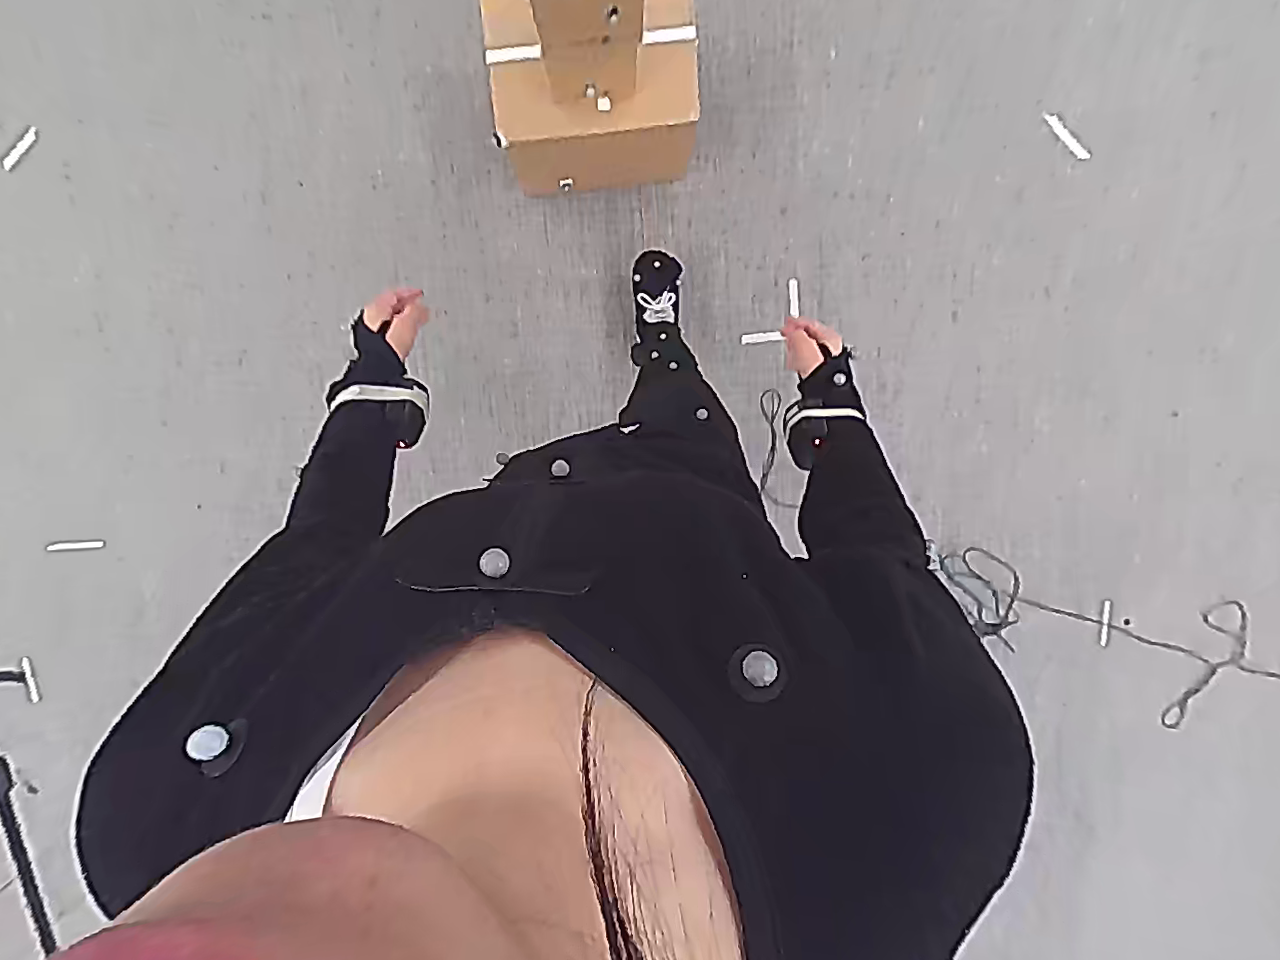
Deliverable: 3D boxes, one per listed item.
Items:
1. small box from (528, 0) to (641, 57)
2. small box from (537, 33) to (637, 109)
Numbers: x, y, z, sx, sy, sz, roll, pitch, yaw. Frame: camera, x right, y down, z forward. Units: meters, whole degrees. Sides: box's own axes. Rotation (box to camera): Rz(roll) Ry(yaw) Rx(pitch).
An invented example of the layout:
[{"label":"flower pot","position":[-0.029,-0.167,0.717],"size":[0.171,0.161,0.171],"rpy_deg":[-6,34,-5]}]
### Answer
[{"label":"small box","position":[-0.088,-0.774,0.809],"size":[0.168,0.176,0.179],"rpy_deg":[-8,99,-1]},{"label":"small box","position":[-0.096,-0.807,0.968],"size":[0.168,0.176,0.179],"rpy_deg":[-6,100,0]}]
